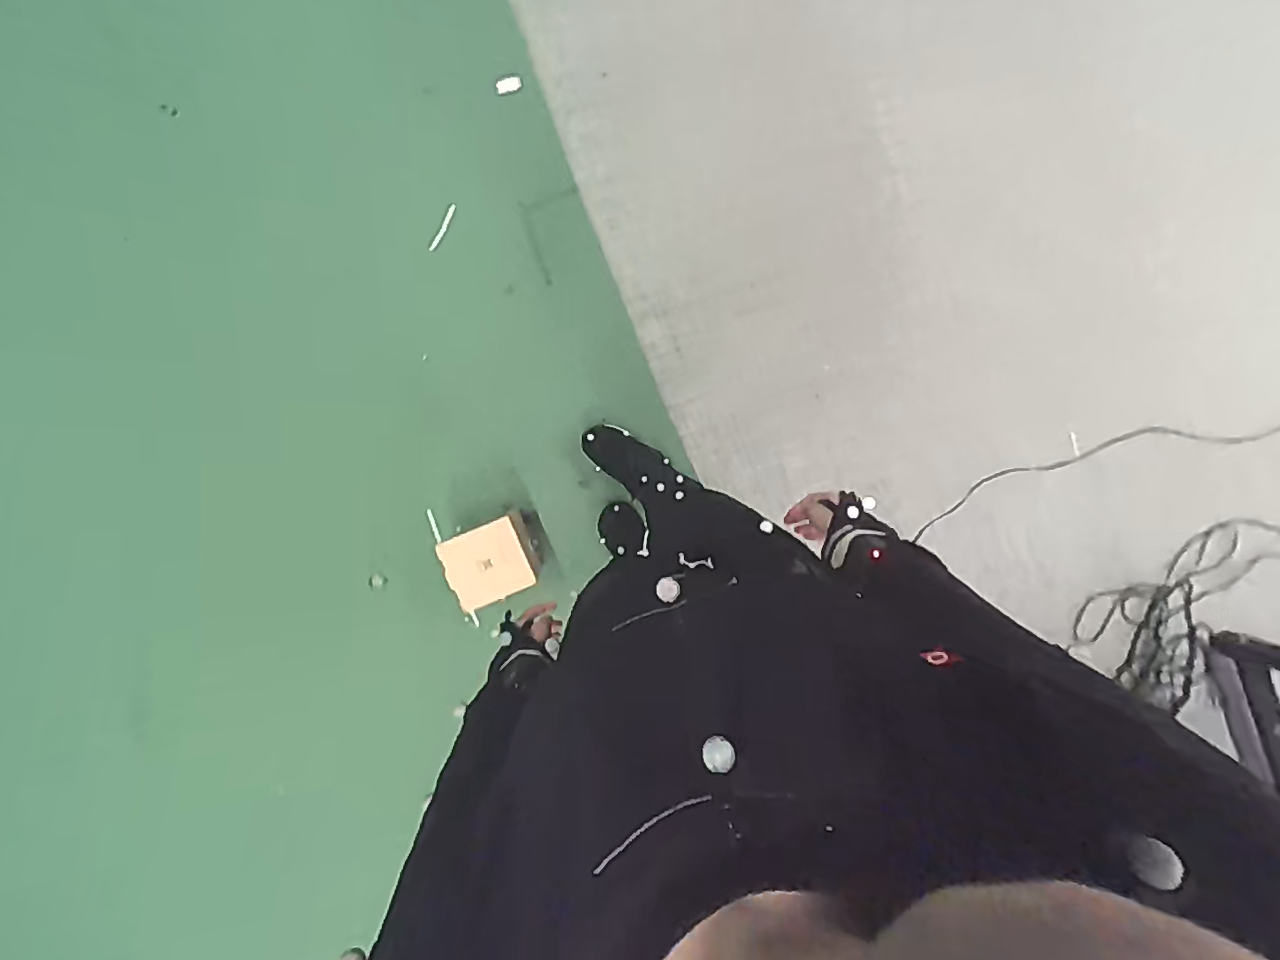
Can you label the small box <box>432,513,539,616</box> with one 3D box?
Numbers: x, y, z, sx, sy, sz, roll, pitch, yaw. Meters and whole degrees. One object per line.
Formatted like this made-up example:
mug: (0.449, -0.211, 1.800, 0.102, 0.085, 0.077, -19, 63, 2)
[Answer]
small box: (-0.350, 0.188, 1.258, 0.179, 0.176, 0.168, -24, 96, -5)
